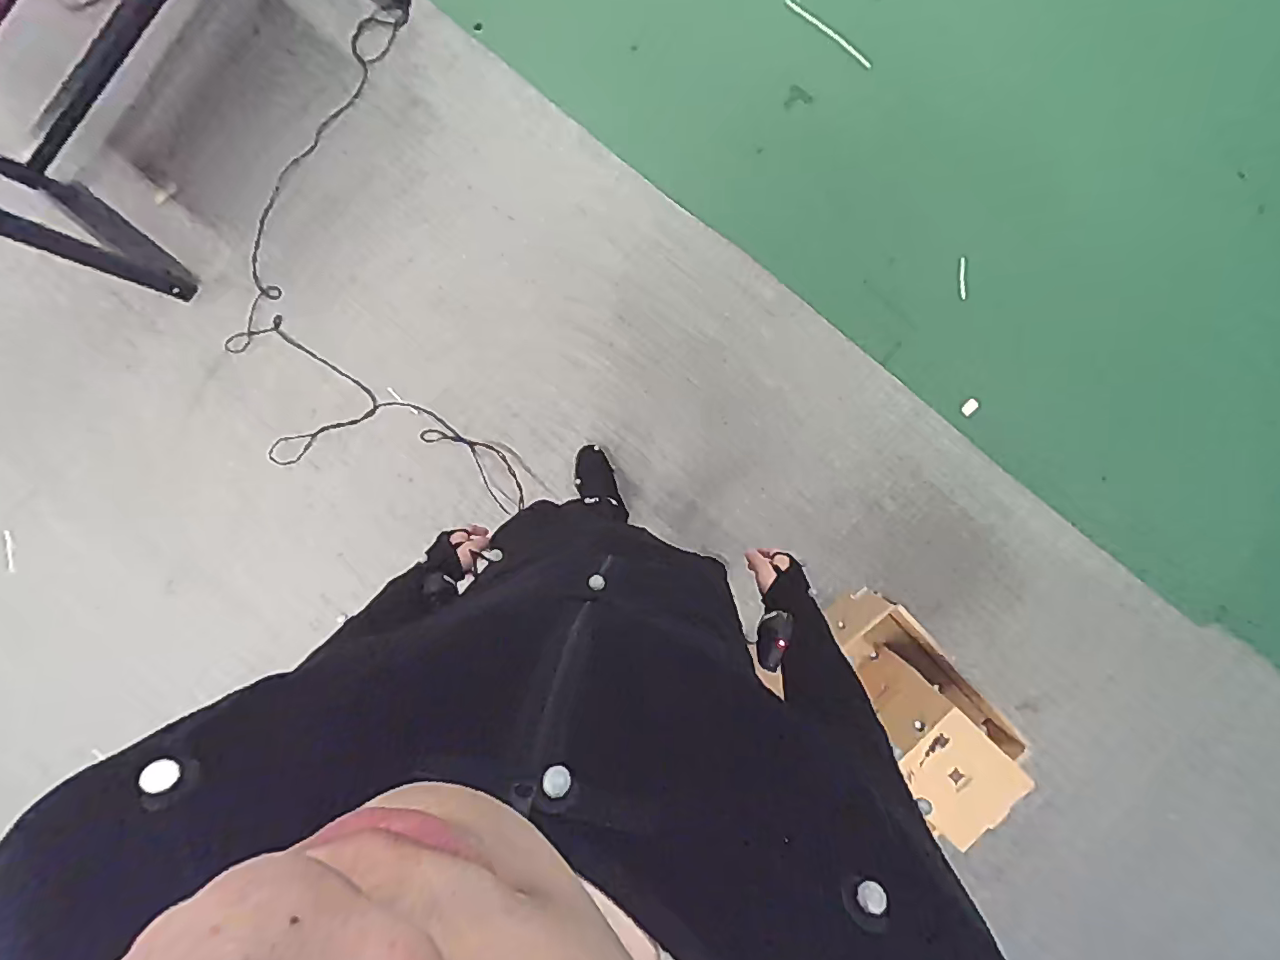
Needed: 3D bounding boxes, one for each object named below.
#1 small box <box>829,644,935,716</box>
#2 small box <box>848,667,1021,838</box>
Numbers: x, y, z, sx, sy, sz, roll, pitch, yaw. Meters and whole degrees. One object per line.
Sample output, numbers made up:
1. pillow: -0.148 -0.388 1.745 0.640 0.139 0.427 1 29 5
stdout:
1. small box: 0.526 0.465 1.124 0.168 0.176 0.179 -43 89 4
2. small box: 0.508 0.470 0.961 0.179 0.176 0.168 45 94 2
